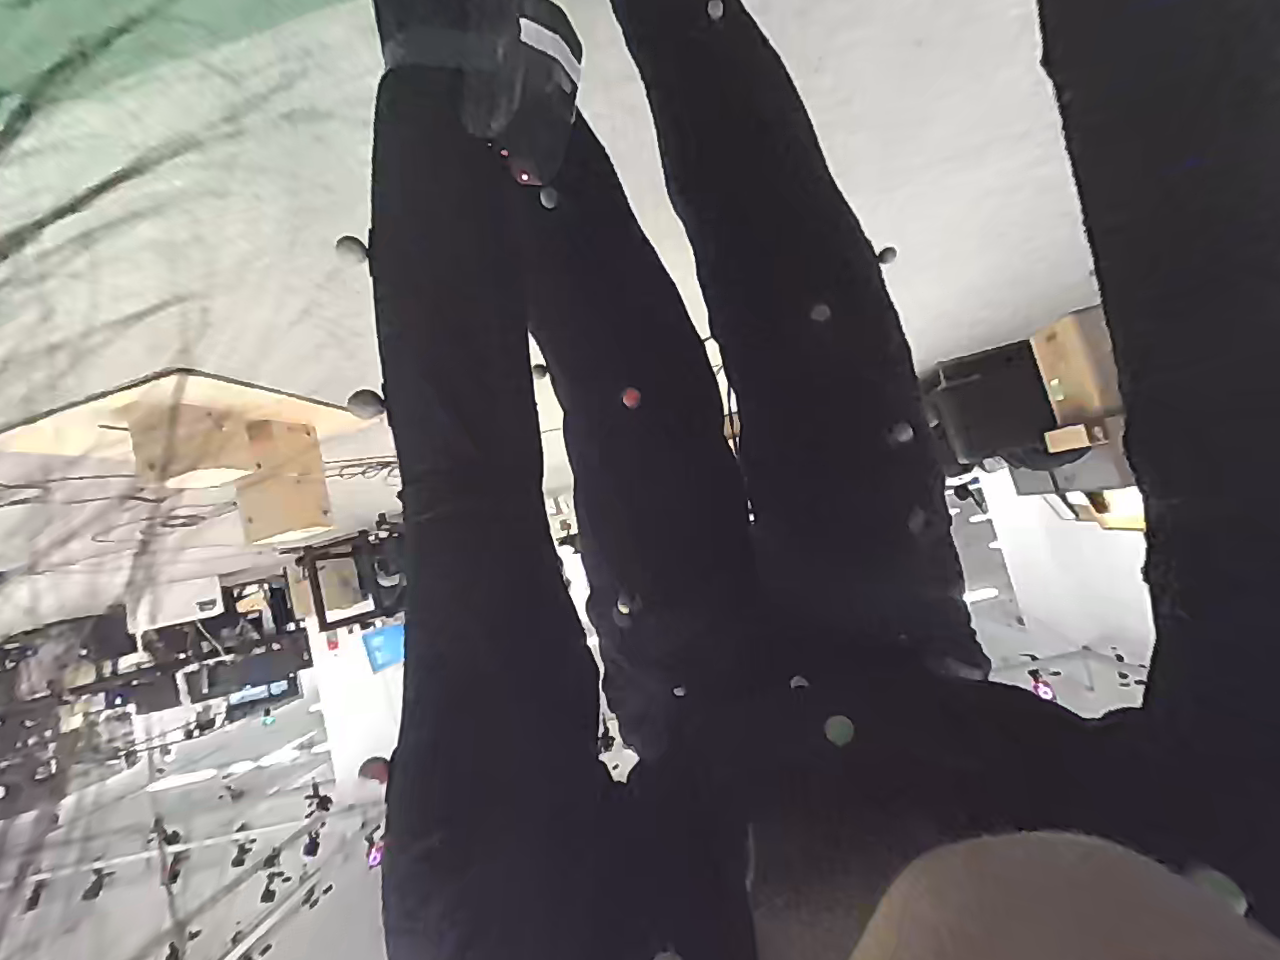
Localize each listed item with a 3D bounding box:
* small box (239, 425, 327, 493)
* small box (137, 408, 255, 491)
[{"bbox_3d":[-1.109,-0.063,1.659,0.179,0.176,0.168,-16,175,13],"label":"small box"},{"bbox_3d":[-1.162,-0.077,1.414,0.179,0.176,0.168,-16,175,9],"label":"small box"}]
